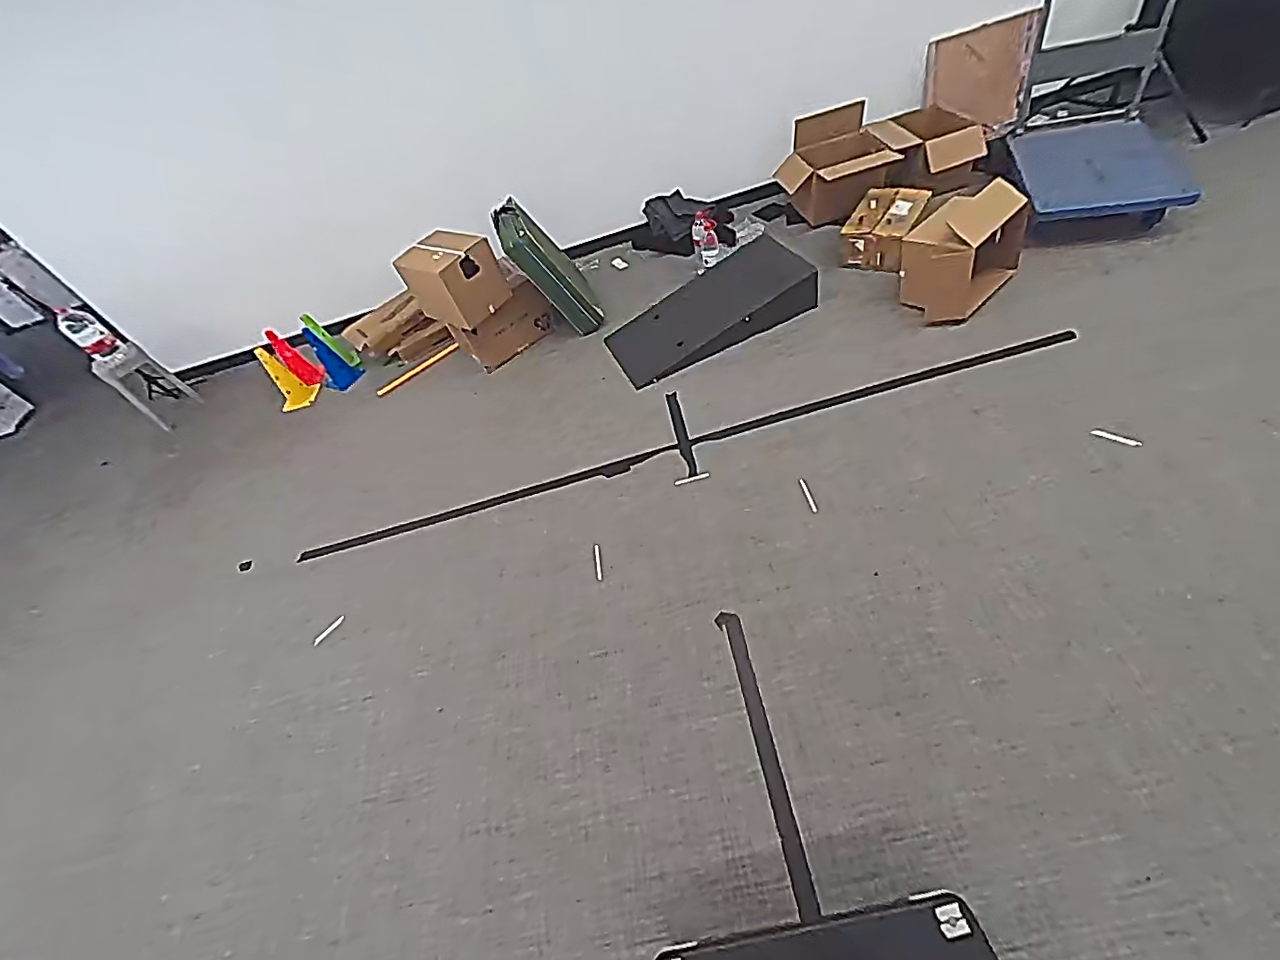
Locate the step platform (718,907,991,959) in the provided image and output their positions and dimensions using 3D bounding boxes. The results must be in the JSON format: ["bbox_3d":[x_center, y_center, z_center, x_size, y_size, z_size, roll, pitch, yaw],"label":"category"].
[{"bbox_3d":[0.367,1.075,1.049,0.684,0.204,0.286,-16,49,3],"label":"step platform"}]
